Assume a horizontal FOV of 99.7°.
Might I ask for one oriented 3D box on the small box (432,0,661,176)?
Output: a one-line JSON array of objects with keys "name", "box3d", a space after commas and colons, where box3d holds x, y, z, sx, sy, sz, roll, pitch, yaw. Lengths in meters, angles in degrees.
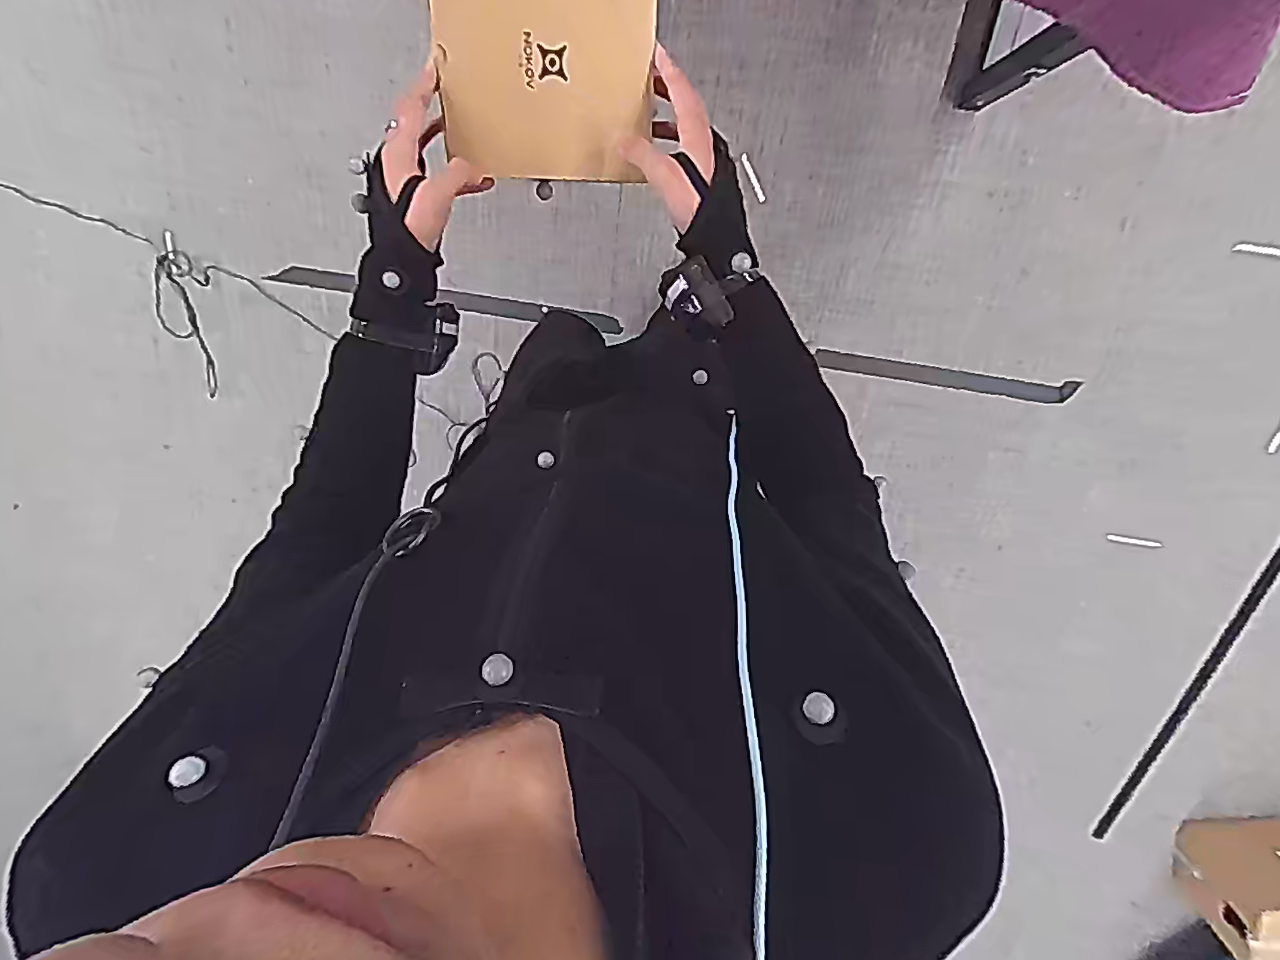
[{"name": "small box", "box3d": [-0.080, -0.379, 0.495, 0.179, 0.176, 0.168, -2, 121, -6]}]
